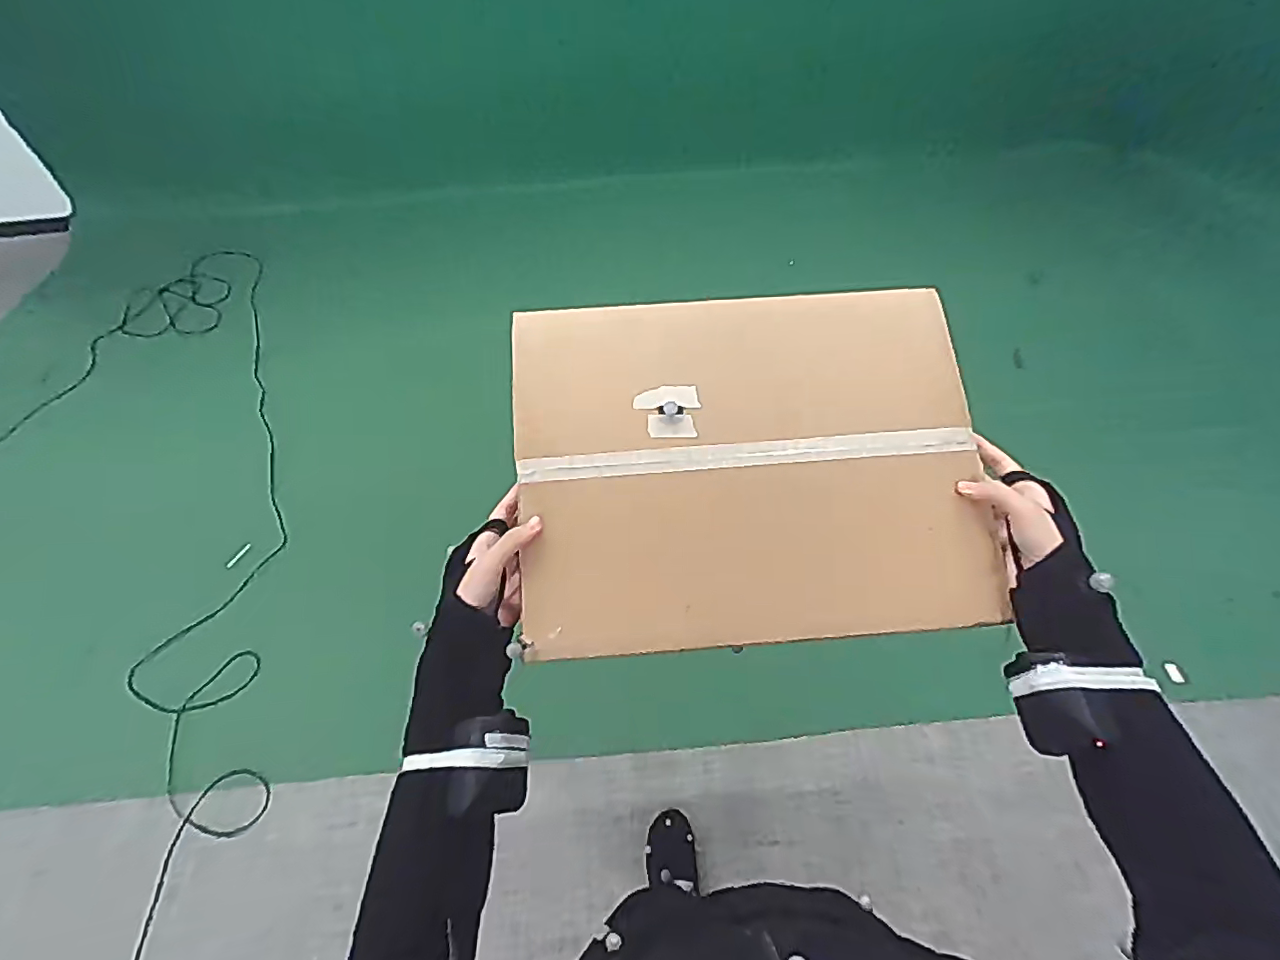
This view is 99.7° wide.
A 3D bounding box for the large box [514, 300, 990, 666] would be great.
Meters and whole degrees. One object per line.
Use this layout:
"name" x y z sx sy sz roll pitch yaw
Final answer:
"large box" 0.091 0.024 0.634 0.408 0.320 0.320 -5 76 -1
